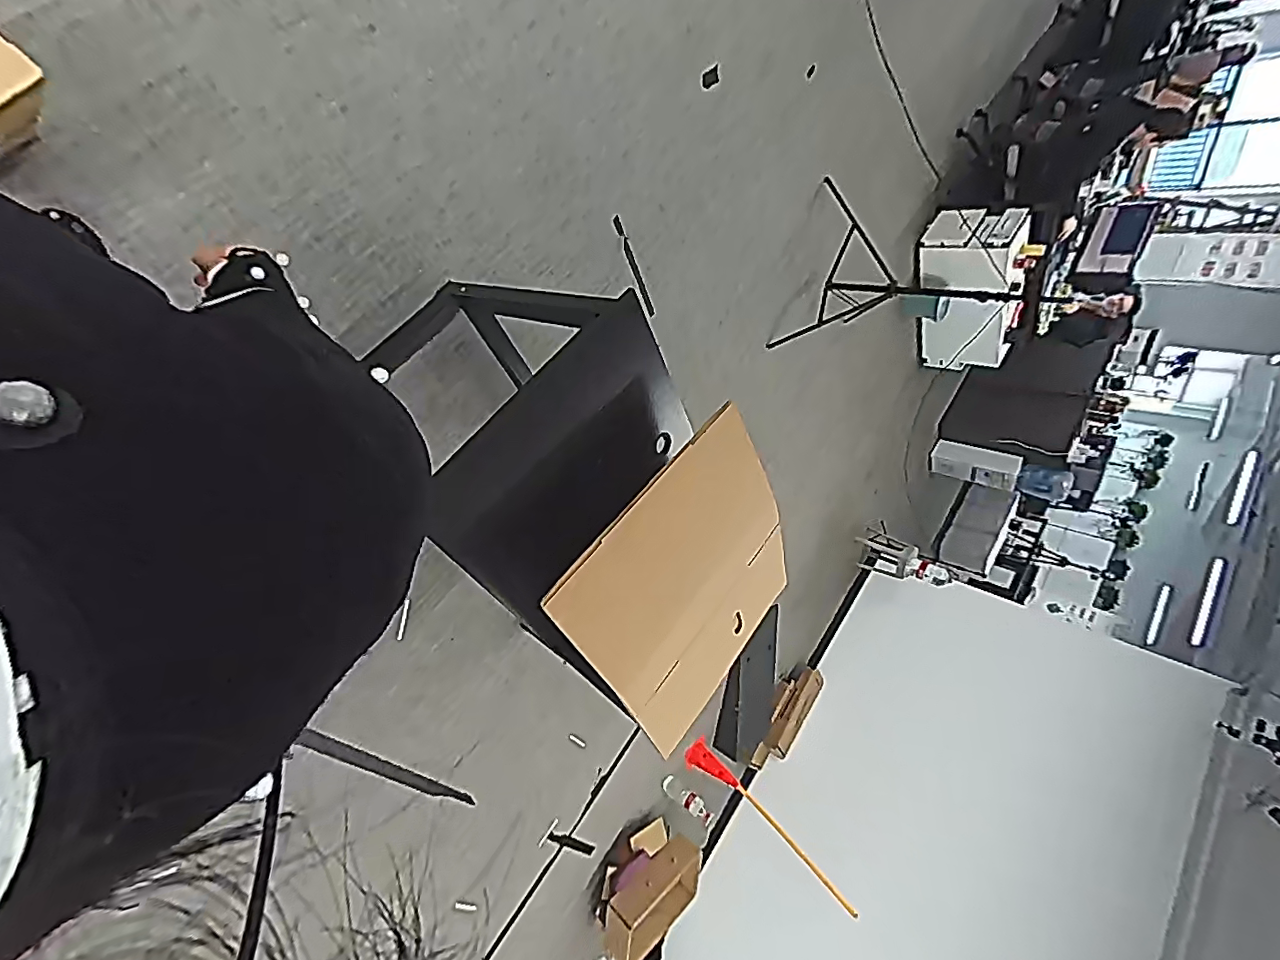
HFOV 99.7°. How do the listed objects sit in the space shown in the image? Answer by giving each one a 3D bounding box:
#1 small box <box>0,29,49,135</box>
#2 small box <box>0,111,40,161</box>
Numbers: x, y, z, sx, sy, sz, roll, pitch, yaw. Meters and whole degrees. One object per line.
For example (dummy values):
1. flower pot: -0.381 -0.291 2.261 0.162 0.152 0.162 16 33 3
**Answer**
1. small box: -0.834 -0.474 0.603 0.179 0.176 0.168 -57 138 -16
2. small box: -1.074 -0.562 0.809 0.179 0.176 0.168 -53 138 -17
